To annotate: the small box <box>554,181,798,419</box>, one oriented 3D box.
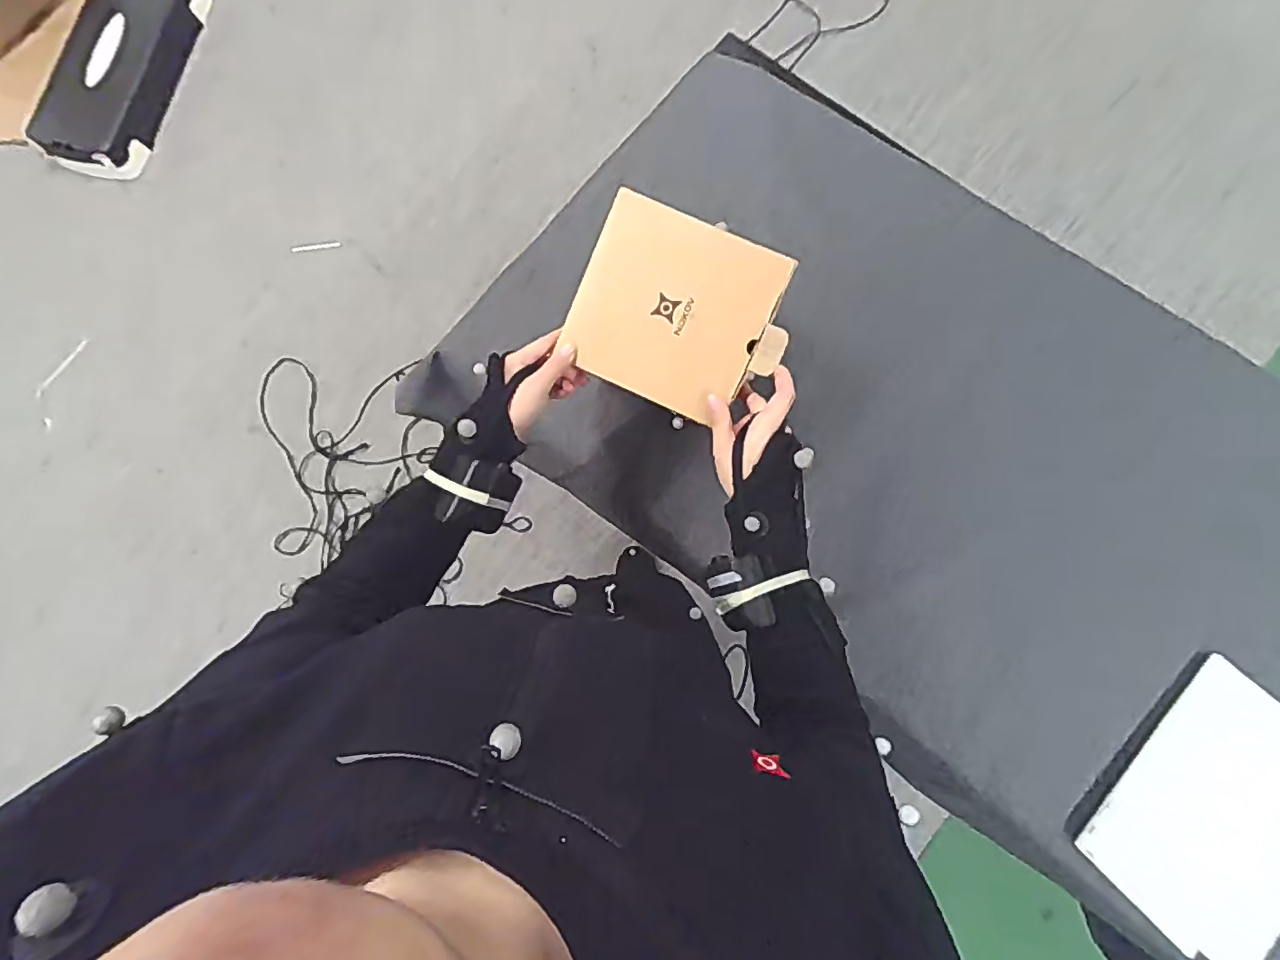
[{"bbox_3d":[0.037,-0.169,0.569,0.179,0.176,0.168,25,97,2],"label":"small box"}]
